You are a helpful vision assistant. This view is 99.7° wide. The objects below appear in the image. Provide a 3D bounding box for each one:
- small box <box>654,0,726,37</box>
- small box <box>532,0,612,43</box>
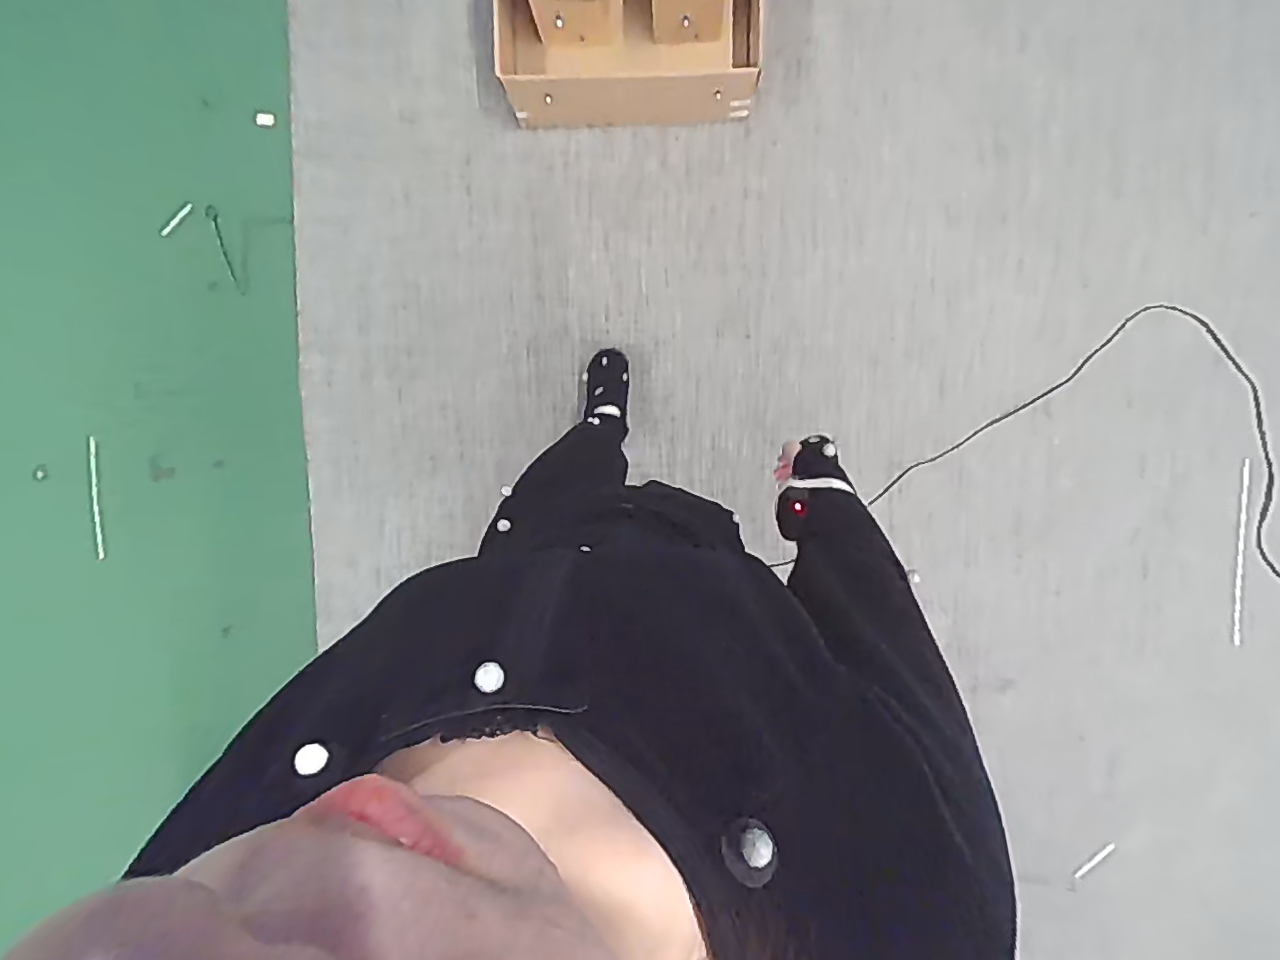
[{"bbox_3d":[0.118,-1.168,1.251,0.168,0.176,0.179,0,96,3],"label":"small box"},{"bbox_3d":[-0.156,-1.173,1.269,0.168,0.176,0.179,4,95,2],"label":"small box"}]
